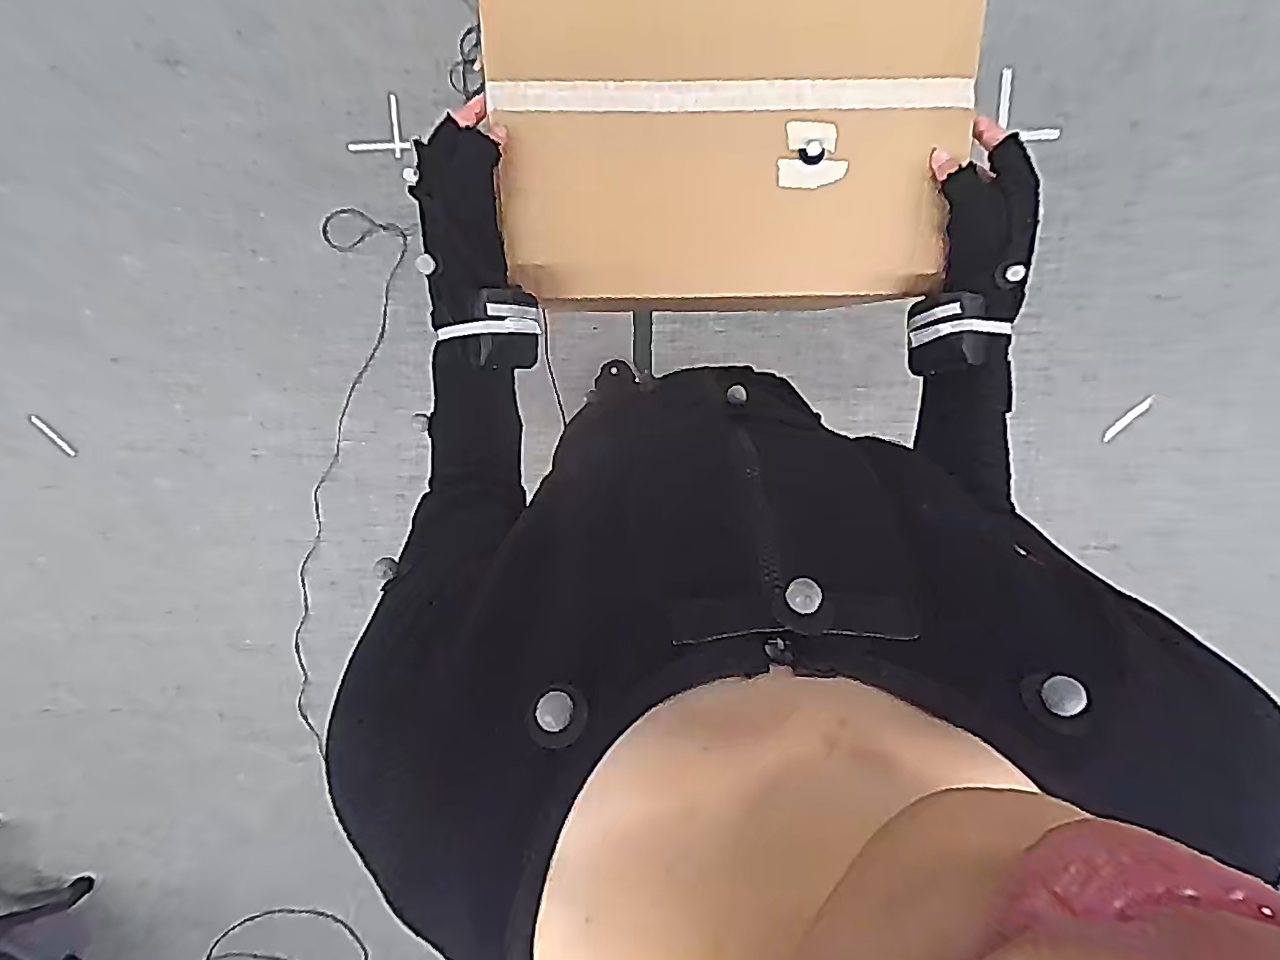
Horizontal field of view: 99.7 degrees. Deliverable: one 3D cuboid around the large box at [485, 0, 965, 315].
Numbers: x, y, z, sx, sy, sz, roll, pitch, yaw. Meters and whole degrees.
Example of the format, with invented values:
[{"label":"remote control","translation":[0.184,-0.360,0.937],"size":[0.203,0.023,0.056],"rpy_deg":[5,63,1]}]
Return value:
[{"label":"large box","translation":[0.067,-0.359,0.607],"size":[0.408,0.320,0.320],"rpy_deg":[-1,105,-2]}]
